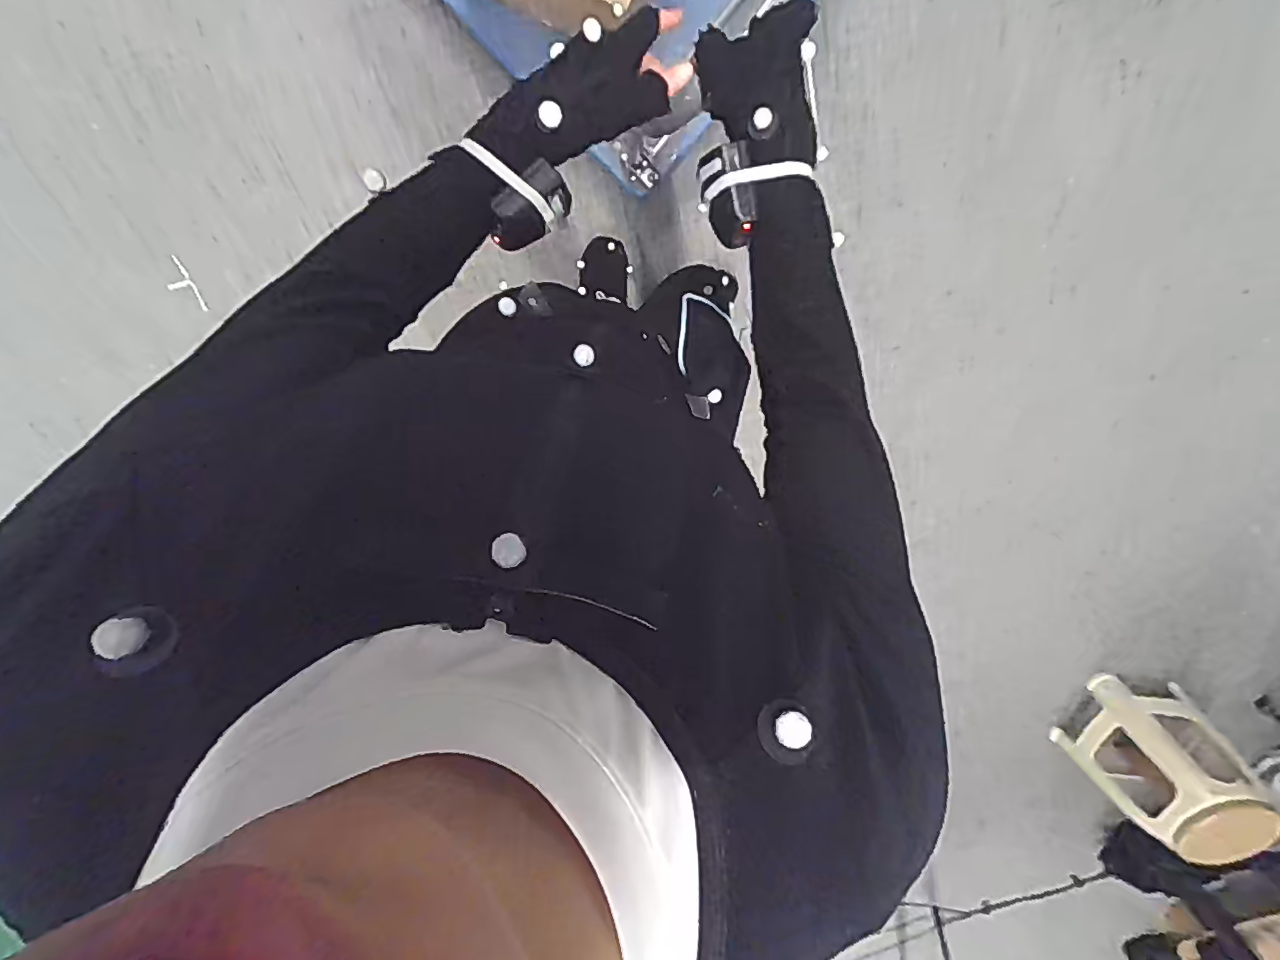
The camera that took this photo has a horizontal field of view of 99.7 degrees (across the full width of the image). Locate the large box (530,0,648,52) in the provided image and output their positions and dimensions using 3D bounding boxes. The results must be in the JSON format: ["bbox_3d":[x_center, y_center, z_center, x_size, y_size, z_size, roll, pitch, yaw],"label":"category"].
[{"bbox_3d":[-0.078,-0.917,0.739,0.320,0.320,0.408,21,116,-11],"label":"large box"}]
